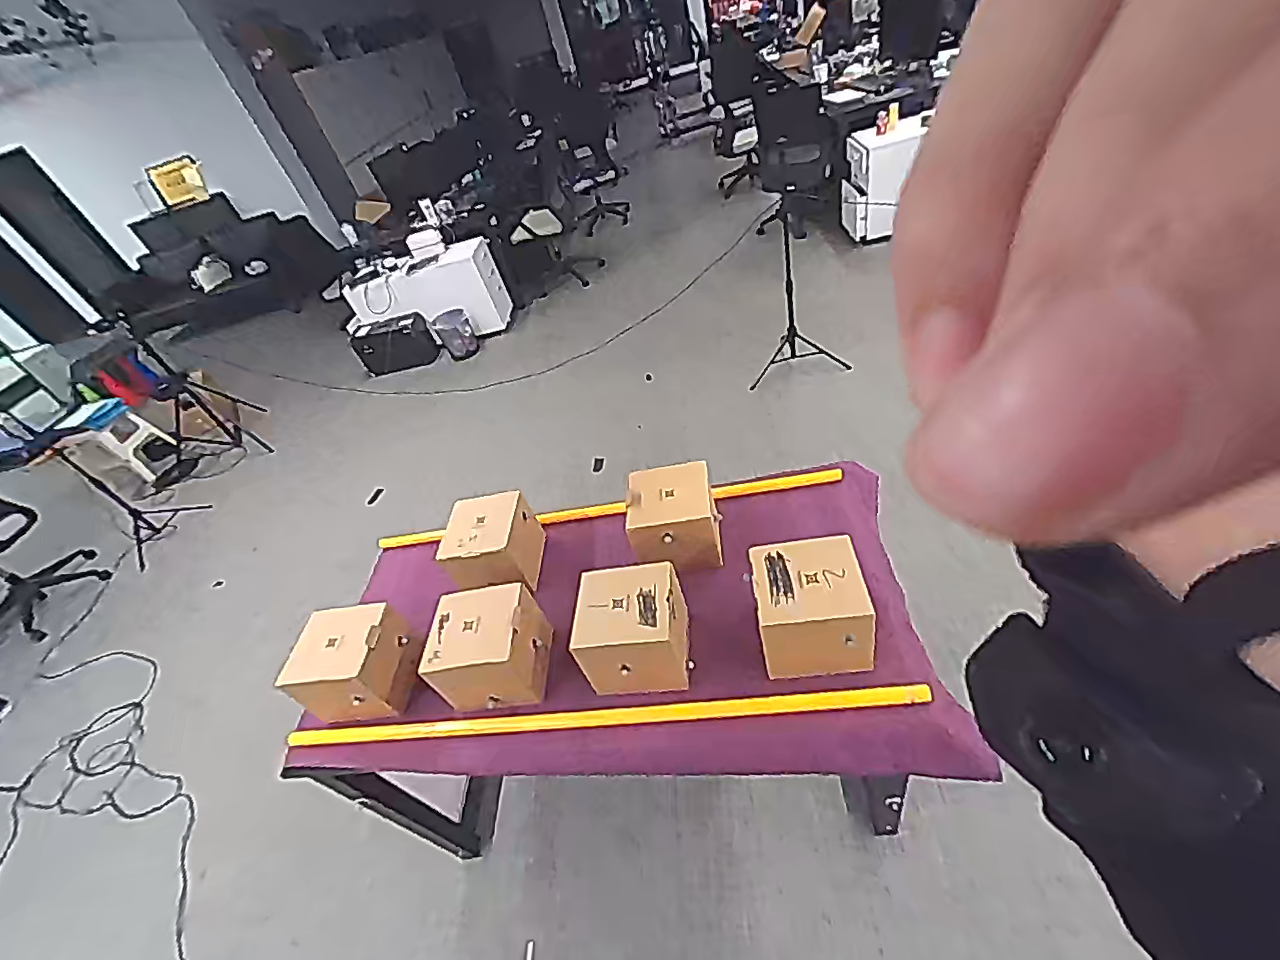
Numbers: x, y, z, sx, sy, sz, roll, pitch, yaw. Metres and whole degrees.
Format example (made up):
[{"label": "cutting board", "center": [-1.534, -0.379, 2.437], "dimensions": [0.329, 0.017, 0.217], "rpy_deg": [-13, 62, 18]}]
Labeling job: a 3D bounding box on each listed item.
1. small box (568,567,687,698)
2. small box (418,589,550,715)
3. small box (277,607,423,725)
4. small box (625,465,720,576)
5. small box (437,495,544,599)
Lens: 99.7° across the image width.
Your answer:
[{"label": "small box", "center": [-0.012, 0.285, 1.000], "dimensions": [0.179, 0.176, 0.168], "rpy_deg": [-9, 40, 13]}, {"label": "small box", "center": [-0.288, 0.335, 1.049], "dimensions": [0.179, 0.176, 0.168], "rpy_deg": [-10, 41, 10]}, {"label": "small box", "center": [-0.575, 0.382, 1.104], "dimensions": [0.179, 0.176, 0.168], "rpy_deg": [-9, 41, 8]}, {"label": "small box", "center": [0.075, 0.094, 1.176], "dimensions": [0.179, 0.176, 0.168], "rpy_deg": [-10, 43, 11]}, {"label": "small box", "center": [-0.335, 0.163, 1.255], "dimensions": [0.168, 0.176, 0.179], "rpy_deg": [-10, 43, 11]}]
